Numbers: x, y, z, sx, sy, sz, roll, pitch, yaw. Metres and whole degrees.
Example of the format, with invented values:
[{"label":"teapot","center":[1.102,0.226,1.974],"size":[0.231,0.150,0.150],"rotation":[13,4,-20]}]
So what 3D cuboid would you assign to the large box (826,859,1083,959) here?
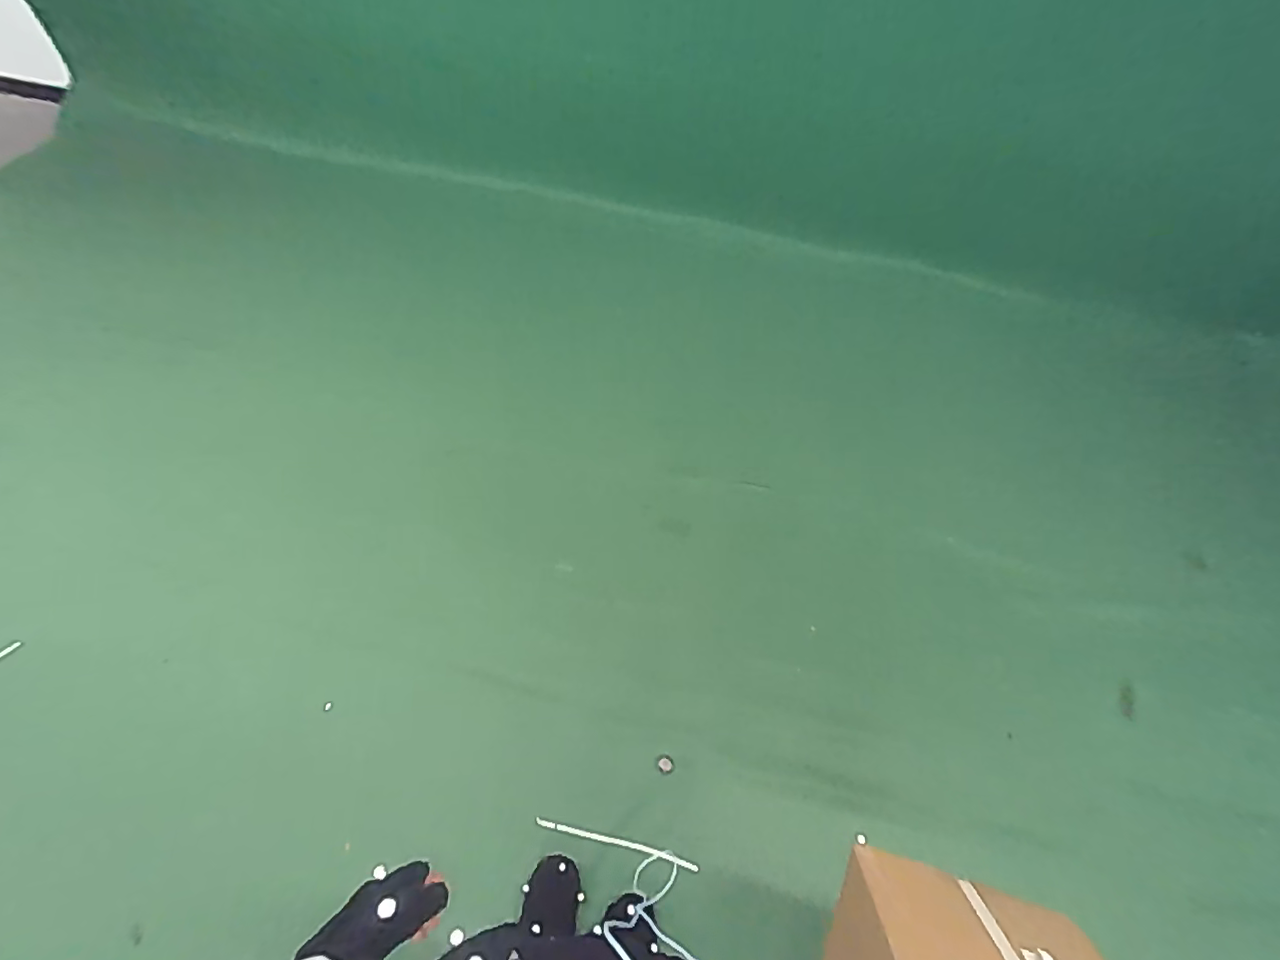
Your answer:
[{"label":"large box","center":[0.400,0.753,0.608],"size":[0.320,0.408,0.320],"rotation":[16,90,9]}]
